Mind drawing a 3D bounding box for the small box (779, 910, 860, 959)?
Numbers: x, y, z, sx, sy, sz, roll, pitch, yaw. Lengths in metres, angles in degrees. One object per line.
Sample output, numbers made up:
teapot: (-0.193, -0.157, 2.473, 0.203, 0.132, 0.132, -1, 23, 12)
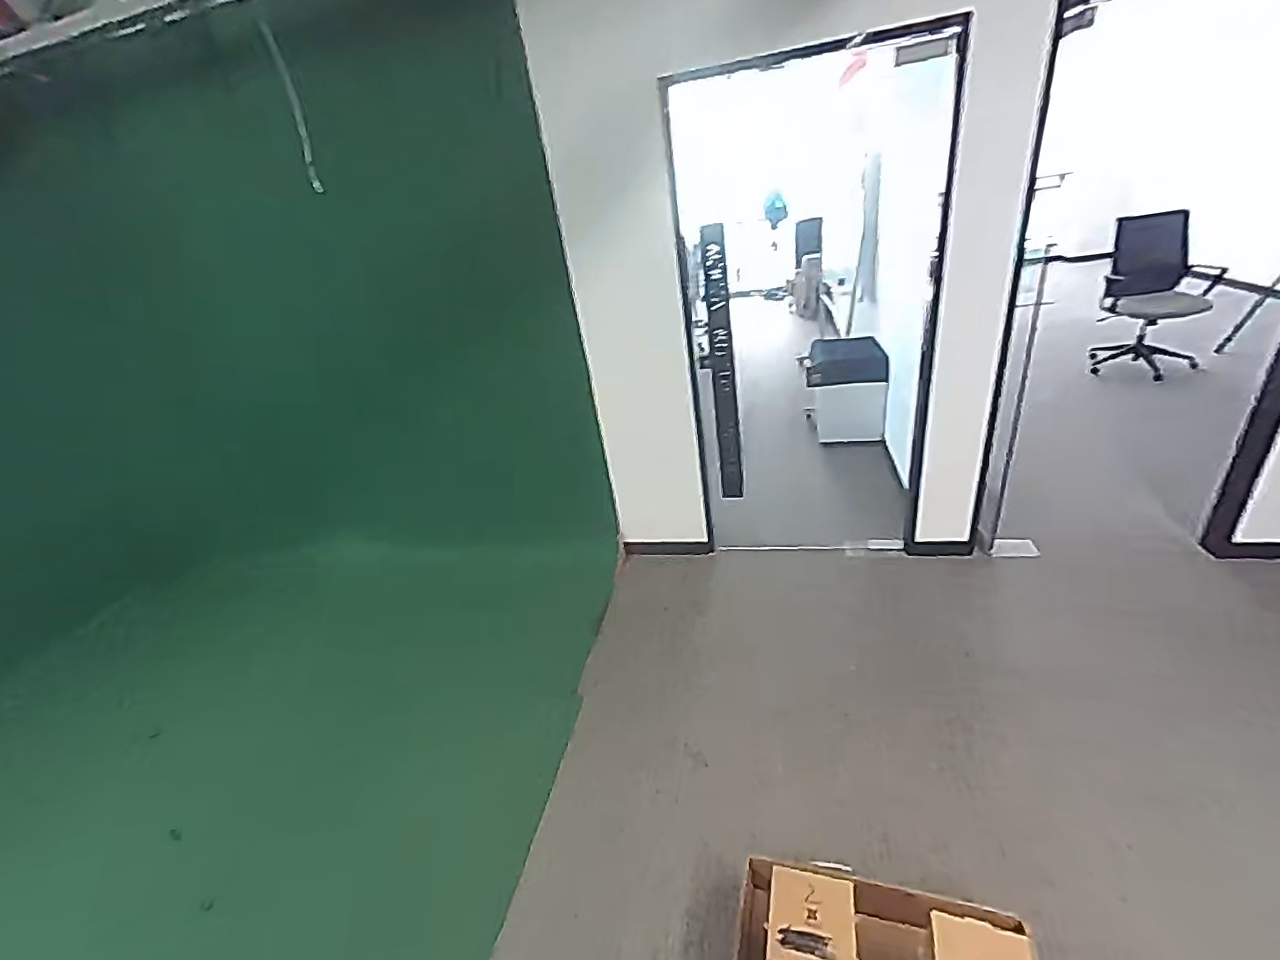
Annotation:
small box: (0.389, 1.099, 1.178, 0.168, 0.176, 0.179, 1, 28, 19)

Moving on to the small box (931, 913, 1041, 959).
small box: (0.643, 0.963, 0.998, 0.168, 0.176, 0.179, 2, 29, 22)
